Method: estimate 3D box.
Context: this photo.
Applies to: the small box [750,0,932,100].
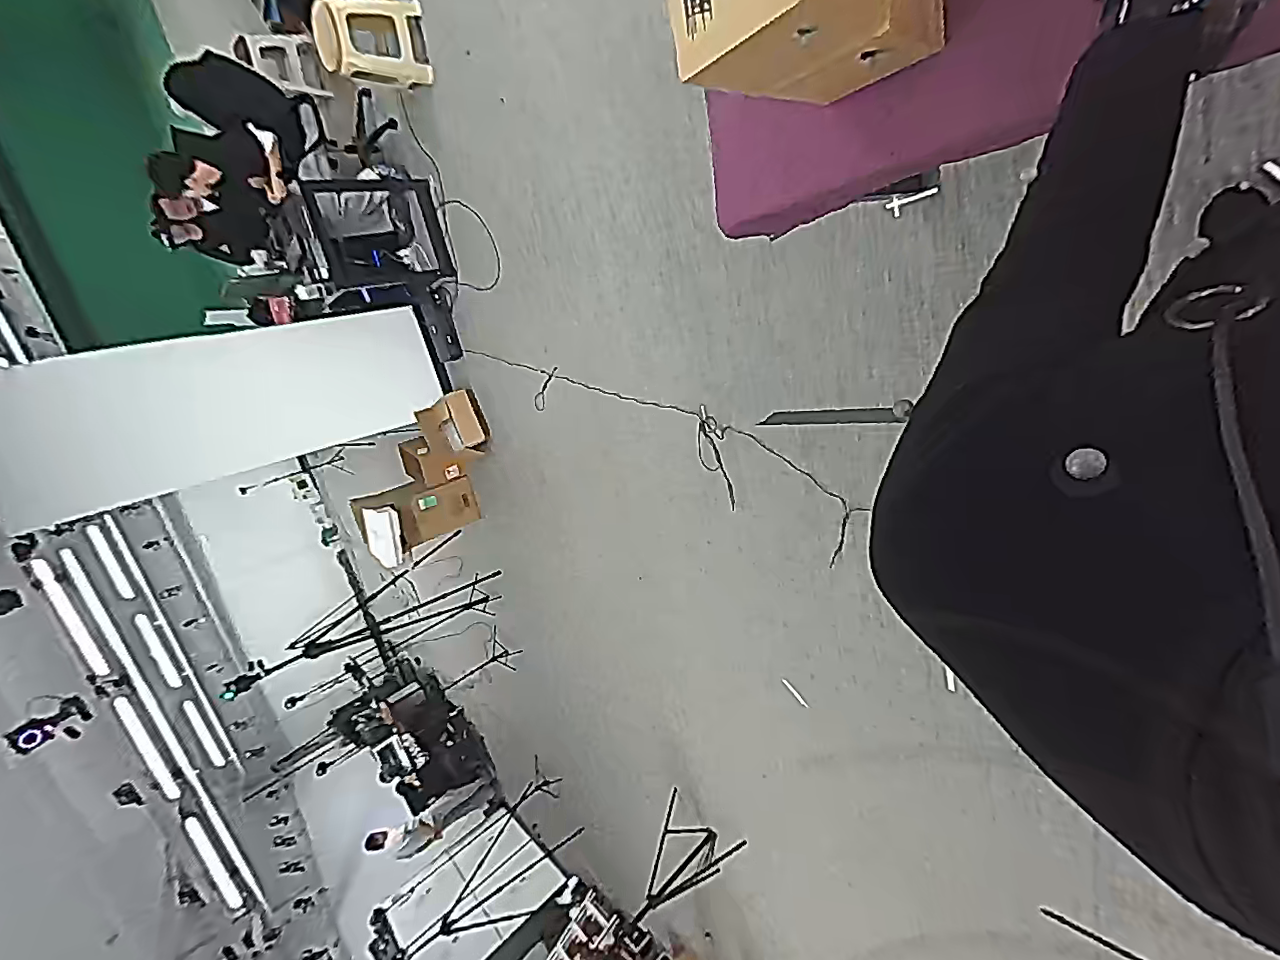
[{"bbox_3d":[0.267,-0.630,0.711,0.179,0.176,0.168,8,116,48],"label":"small box"}]
